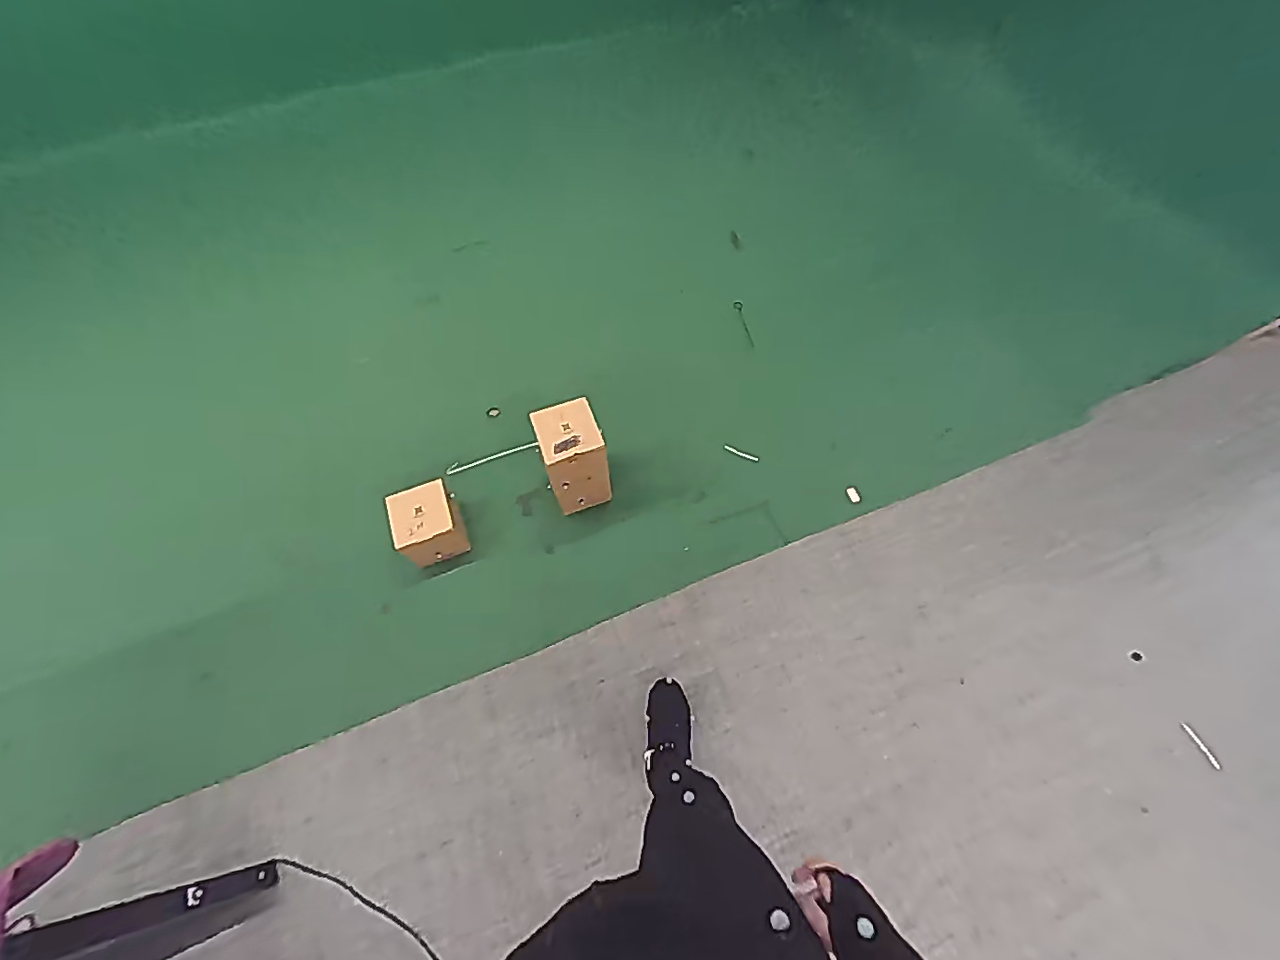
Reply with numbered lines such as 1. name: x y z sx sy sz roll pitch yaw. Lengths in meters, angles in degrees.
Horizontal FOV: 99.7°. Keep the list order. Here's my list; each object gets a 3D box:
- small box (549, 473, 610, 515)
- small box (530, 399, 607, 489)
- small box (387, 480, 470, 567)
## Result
1. small box: -0.197 -0.018 1.675 0.168 0.176 0.179 -19 64 -9
2. small box: -0.197 -0.093 1.529 0.168 0.176 0.179 -18 63 -10
3. small box: -0.622 0.133 1.600 0.168 0.176 0.179 -20 64 -8
